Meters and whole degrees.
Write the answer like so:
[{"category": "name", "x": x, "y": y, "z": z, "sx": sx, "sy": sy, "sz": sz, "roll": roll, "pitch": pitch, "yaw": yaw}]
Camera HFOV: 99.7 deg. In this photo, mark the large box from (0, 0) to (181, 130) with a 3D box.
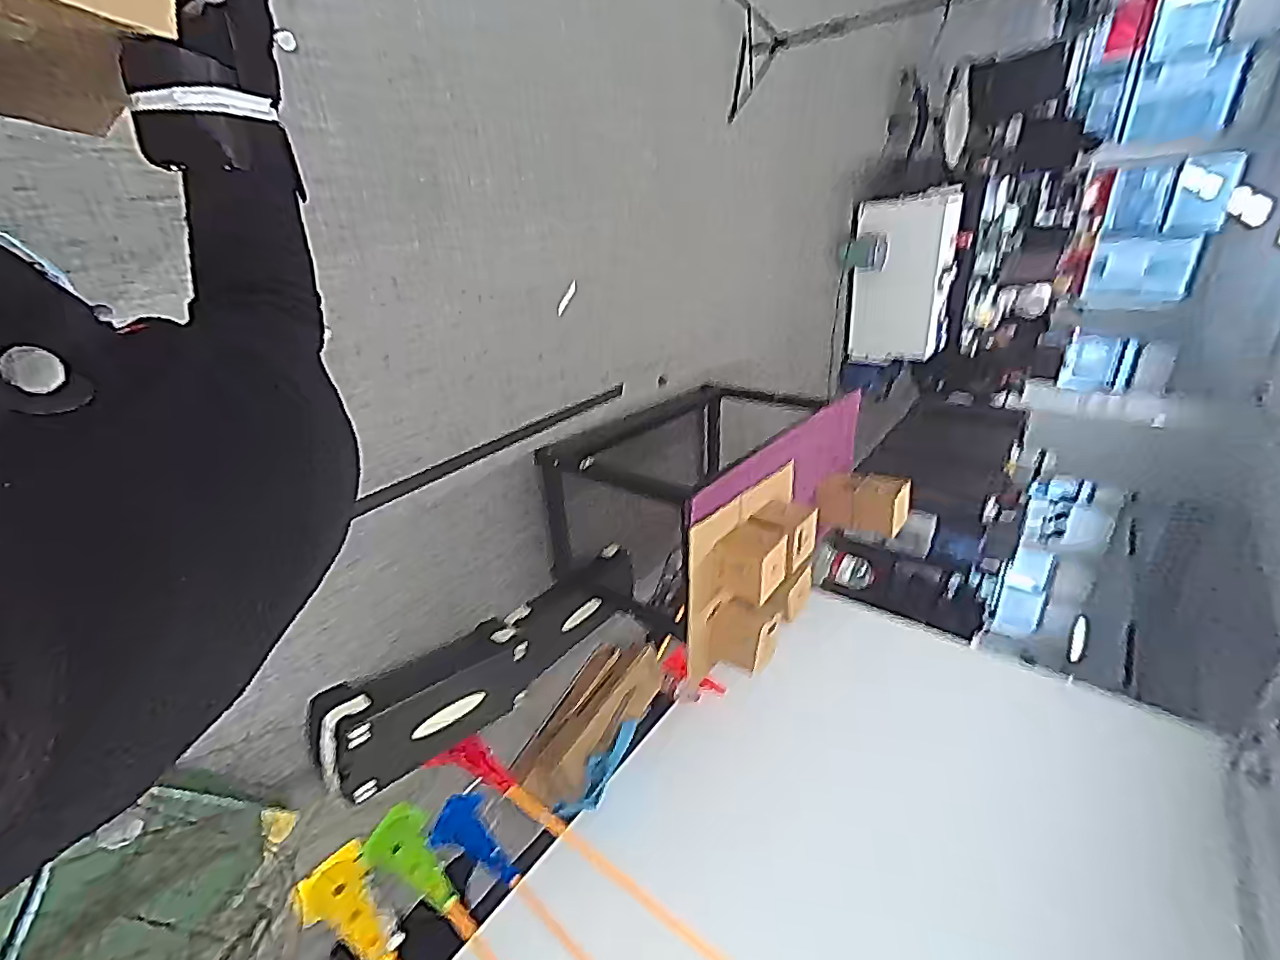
[{"category": "large box", "x": -0.520, "y": -0.419, "z": 0.244, "sx": 0.408, "sy": 0.320, "sz": 0.320, "roll": -13, "pitch": 112, "yaw": -49}]
